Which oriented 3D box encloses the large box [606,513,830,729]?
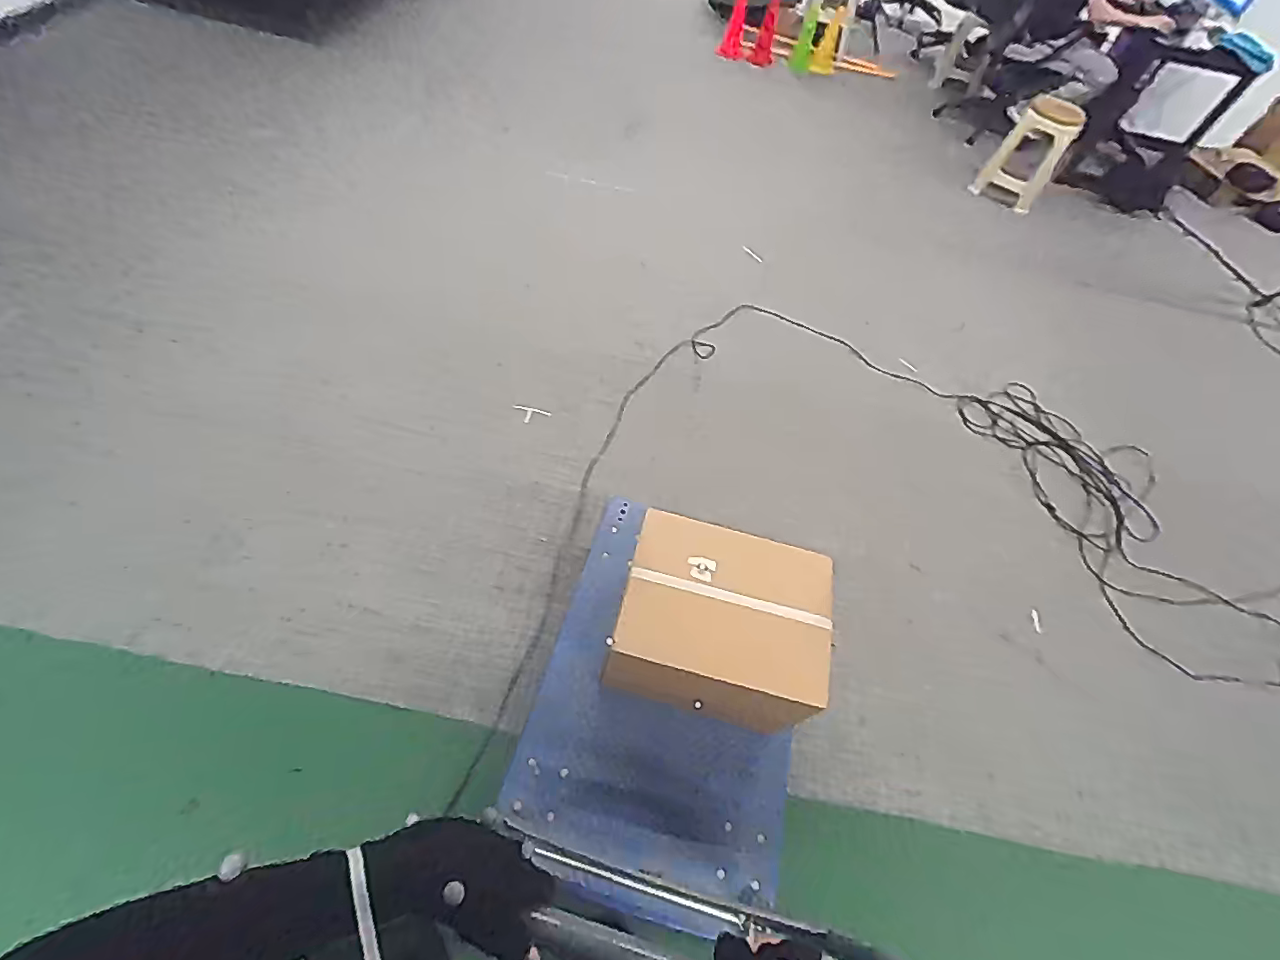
[{"bbox_3d":[0.162,0.318,1.184,0.408,0.320,0.320,15,55,2],"label":"large box"}]
